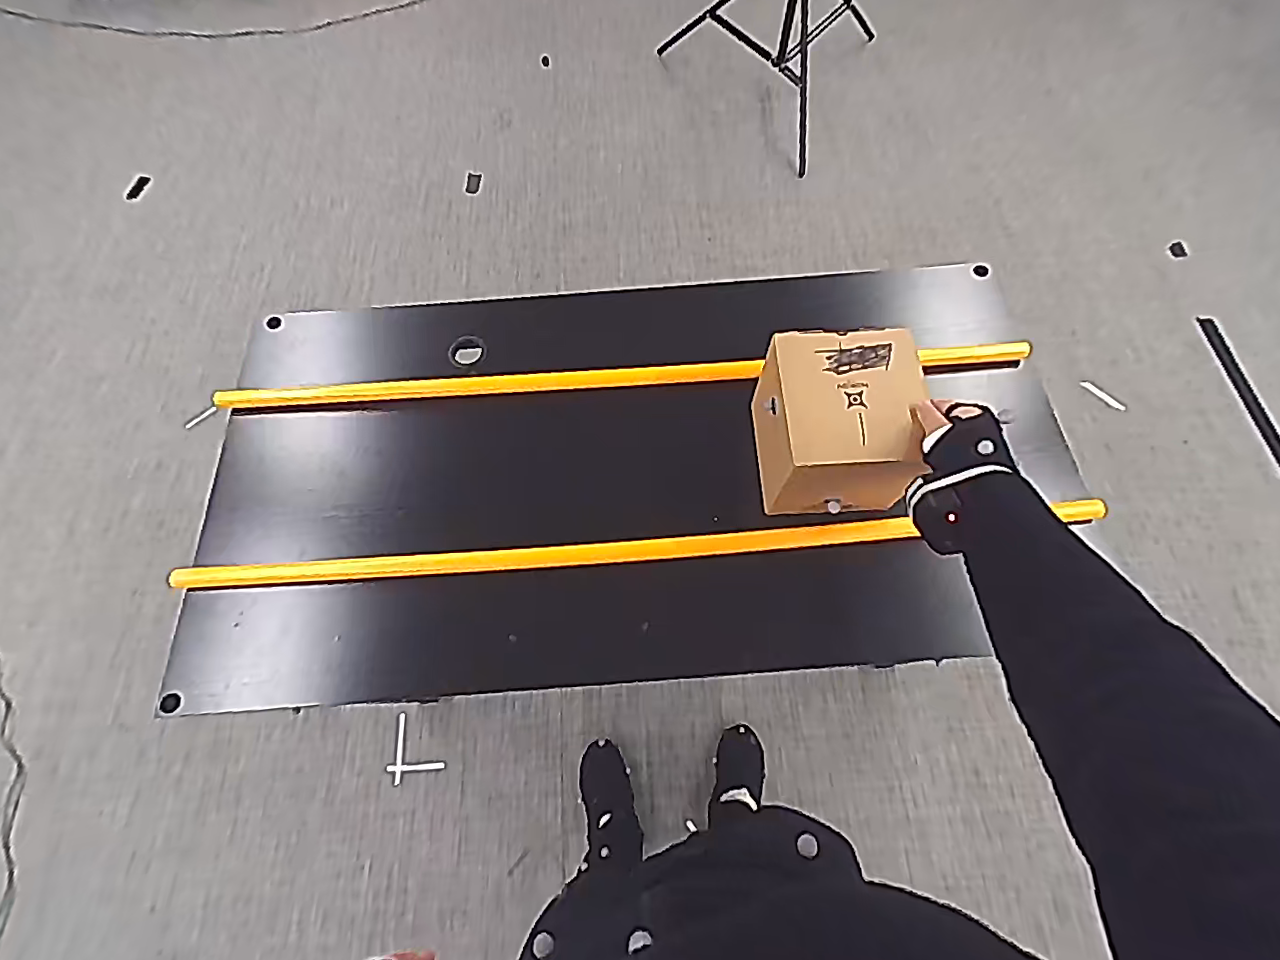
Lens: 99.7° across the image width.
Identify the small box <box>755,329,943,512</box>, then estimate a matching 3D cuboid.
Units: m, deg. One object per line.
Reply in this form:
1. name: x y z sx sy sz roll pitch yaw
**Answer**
1. small box: 0.247 -0.070 0.691 0.168 0.176 0.179 -2 68 2
